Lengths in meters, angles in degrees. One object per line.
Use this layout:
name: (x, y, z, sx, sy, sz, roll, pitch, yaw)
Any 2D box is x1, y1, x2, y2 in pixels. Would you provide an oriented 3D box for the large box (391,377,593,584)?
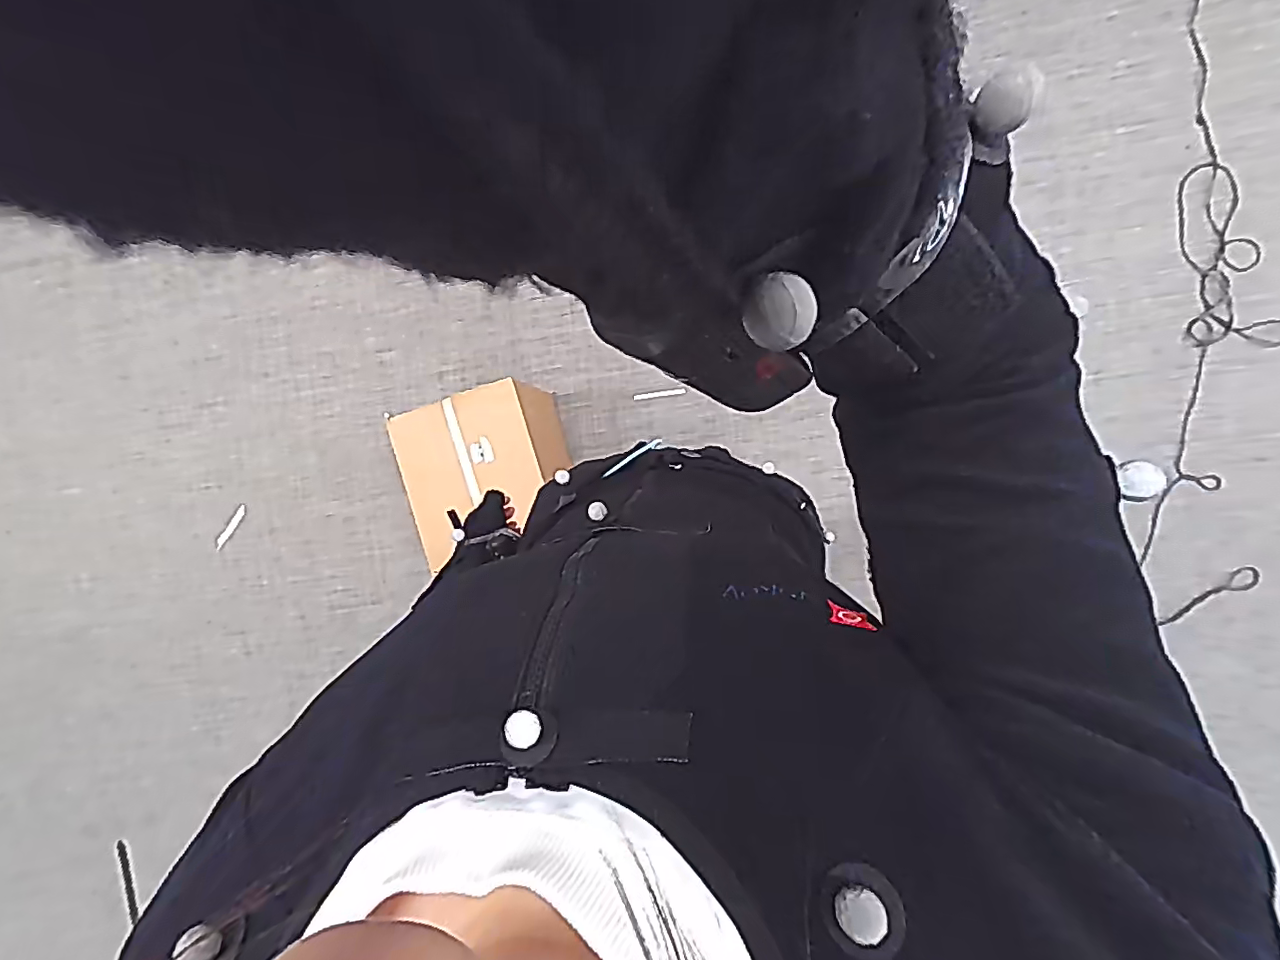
large box: (-0.344, 0.001, 1.352, 0.320, 0.320, 0.408, -17, 89, 6)
